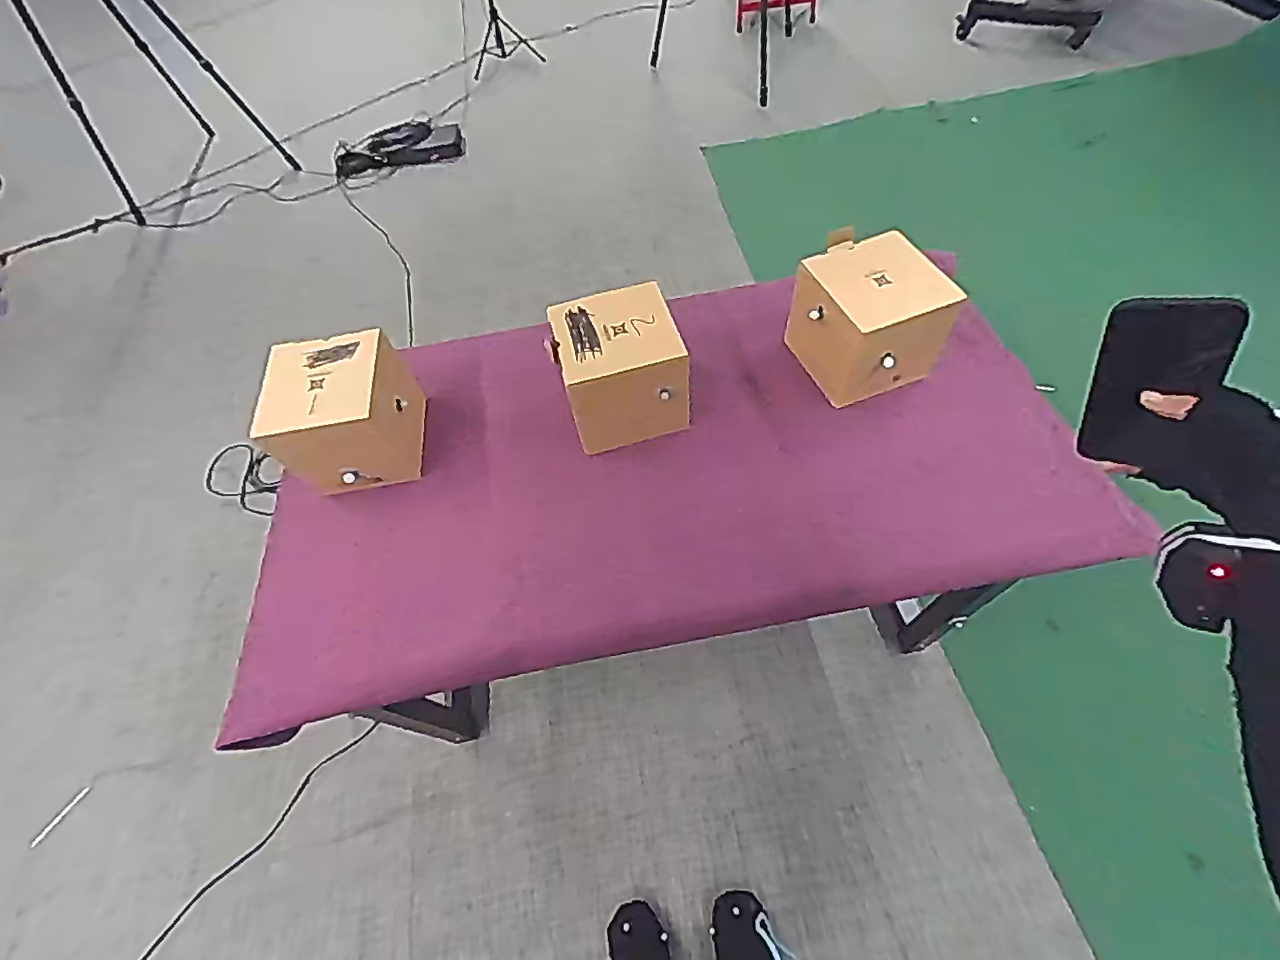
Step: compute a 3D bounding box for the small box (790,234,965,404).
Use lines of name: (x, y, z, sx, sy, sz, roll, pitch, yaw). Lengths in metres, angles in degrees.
small box: (0.354, -0.242, 0.847, 0.168, 0.176, 0.179, -20, 58, -6)

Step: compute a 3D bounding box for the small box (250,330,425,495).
small box: (-0.447, -0.100, 0.835, 0.168, 0.176, 0.179, -10, 60, 0)
